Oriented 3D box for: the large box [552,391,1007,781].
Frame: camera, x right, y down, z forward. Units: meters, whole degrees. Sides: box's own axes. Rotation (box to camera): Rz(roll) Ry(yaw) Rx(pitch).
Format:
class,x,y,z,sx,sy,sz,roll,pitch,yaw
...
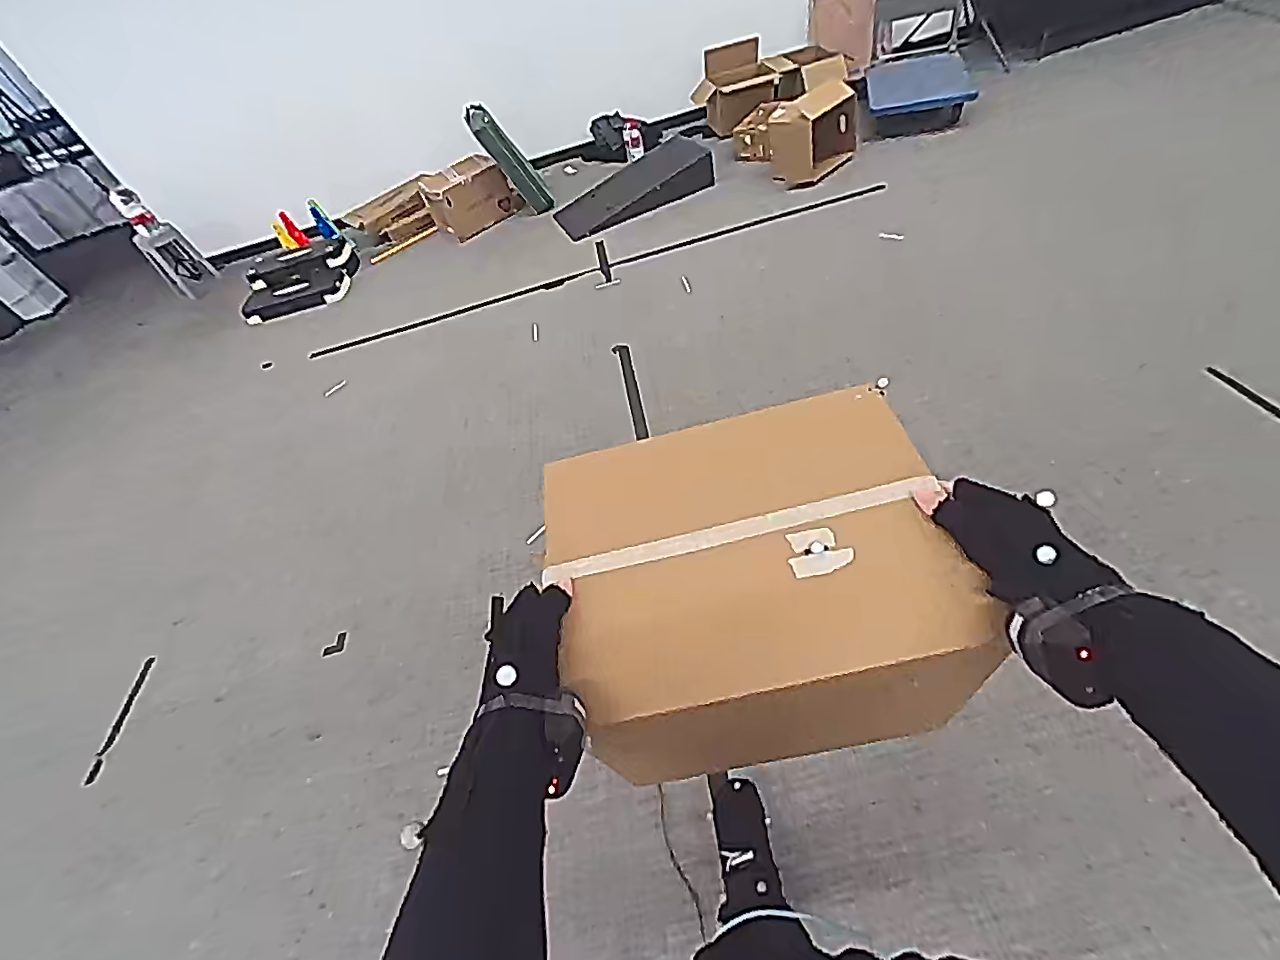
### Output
class,x,y,z,sx,sy,sz,roll,pitch,yaw
large box,0.132,0.146,0.681,0.408,0.320,0.320,-14,51,4
